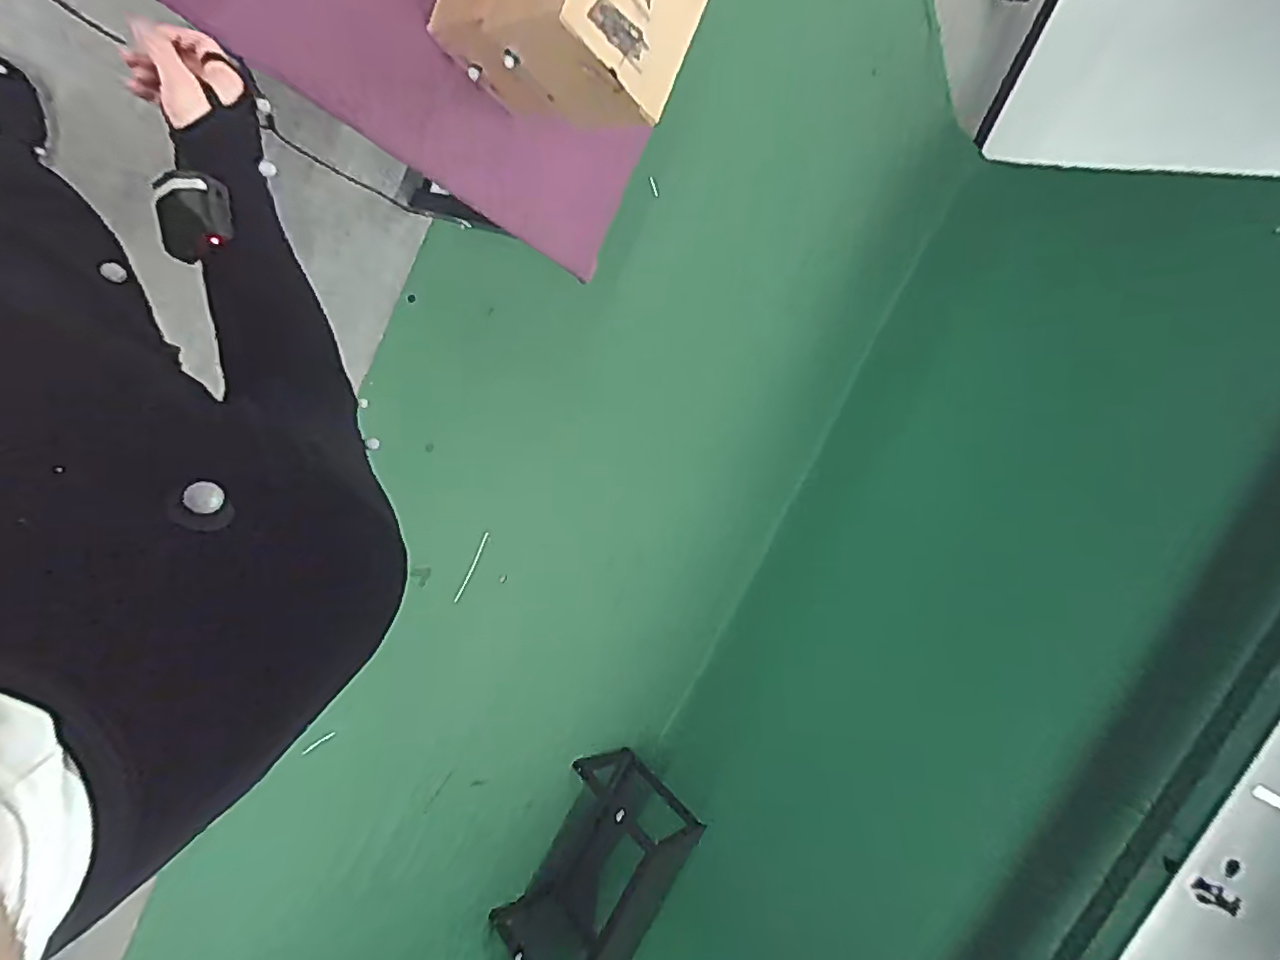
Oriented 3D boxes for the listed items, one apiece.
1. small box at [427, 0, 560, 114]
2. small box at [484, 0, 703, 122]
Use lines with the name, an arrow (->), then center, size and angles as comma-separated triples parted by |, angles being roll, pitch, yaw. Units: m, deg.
small box -> -0.159, -0.640, 0.736 | 0.168, 0.176, 0.179 | 20, 99, -51
small box -> -0.057, -0.556, 0.637 | 0.168, 0.176, 0.179 | 17, 100, -51
